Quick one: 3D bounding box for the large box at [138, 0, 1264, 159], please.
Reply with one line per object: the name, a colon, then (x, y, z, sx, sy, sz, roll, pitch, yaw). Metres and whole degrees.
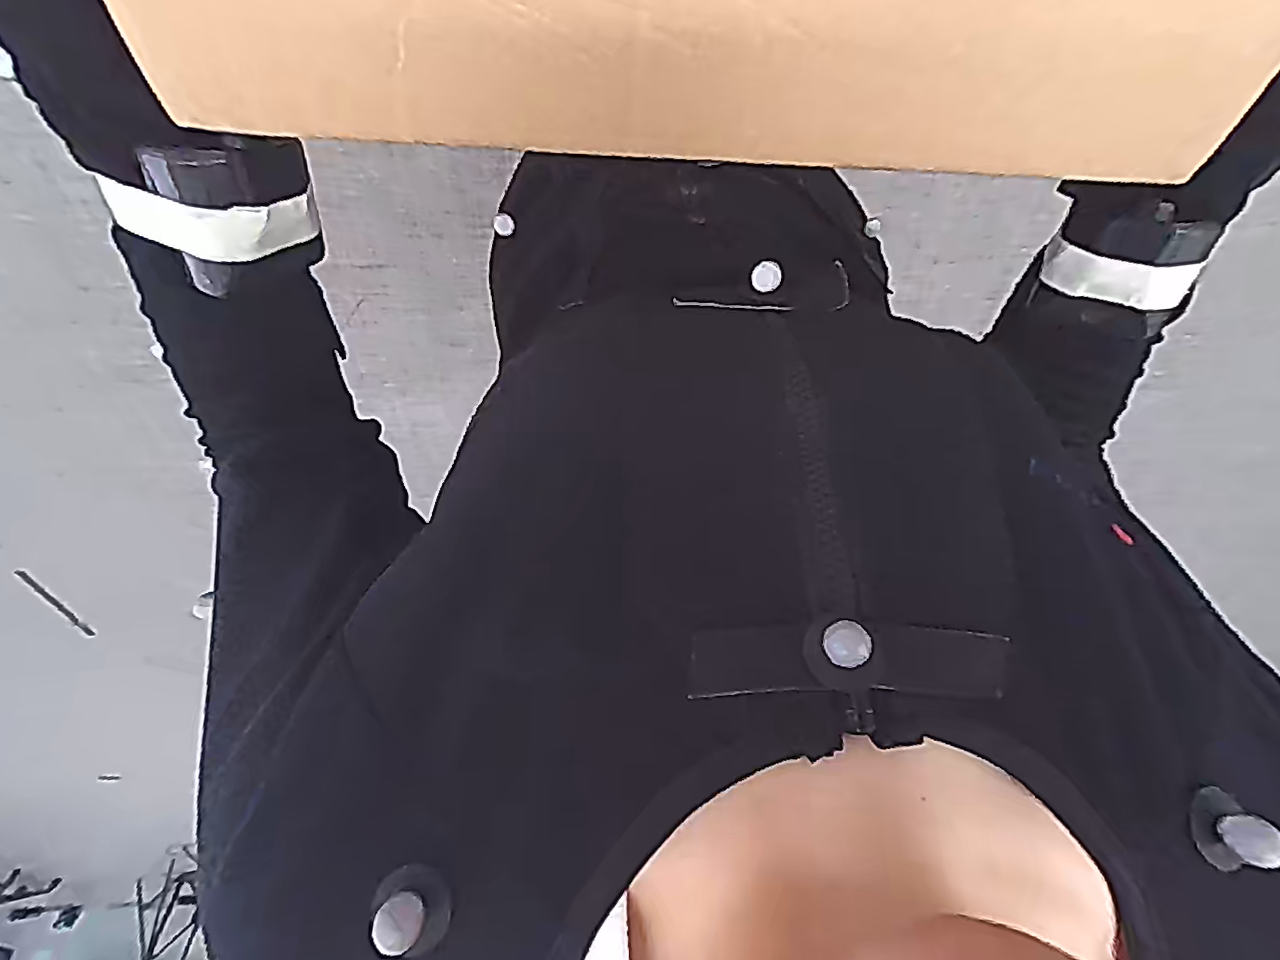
large box: (0.030, -0.351, 0.195, 0.408, 0.320, 0.320, 0, 141, -5)
